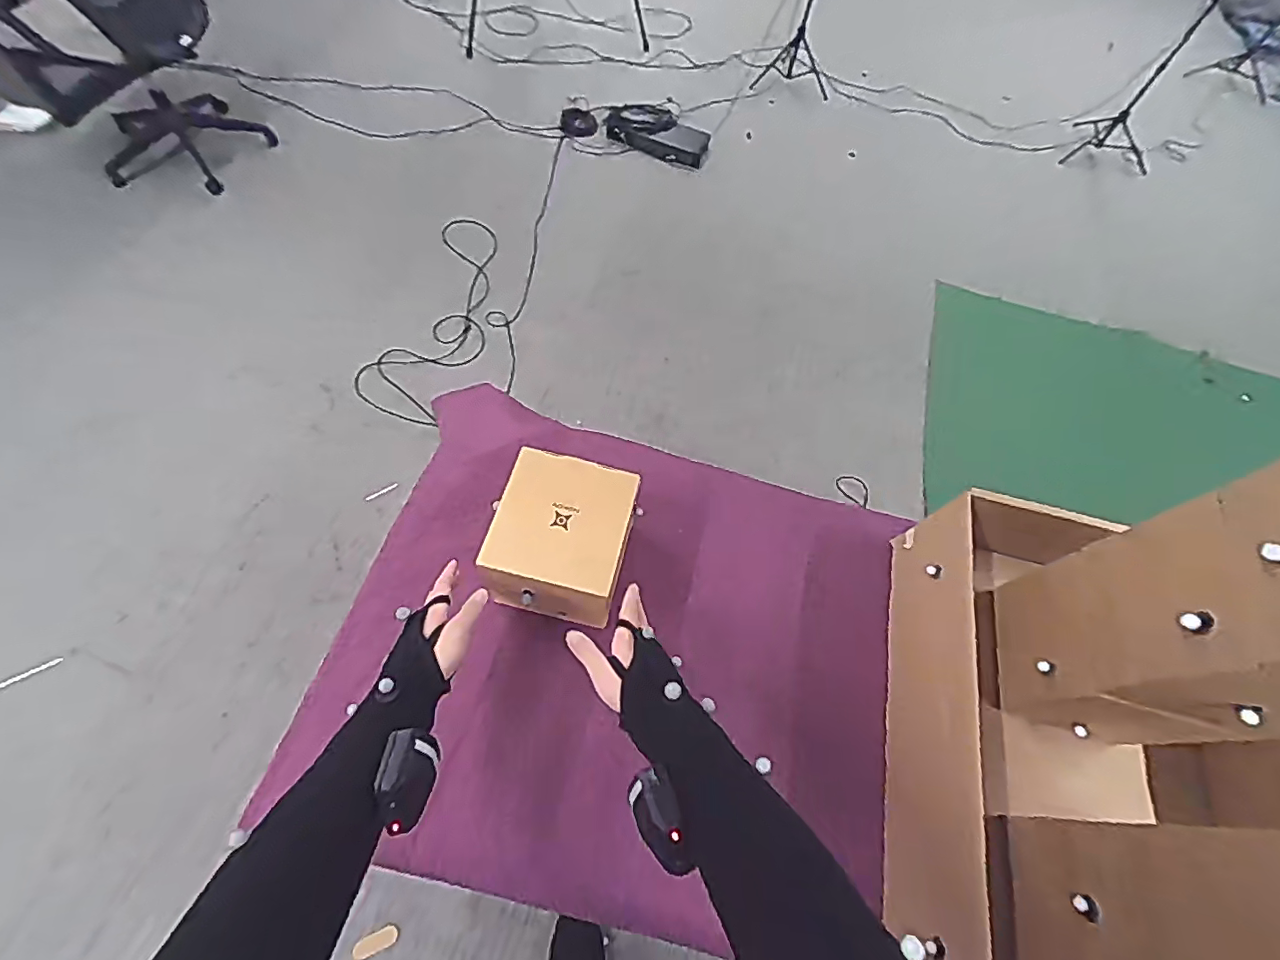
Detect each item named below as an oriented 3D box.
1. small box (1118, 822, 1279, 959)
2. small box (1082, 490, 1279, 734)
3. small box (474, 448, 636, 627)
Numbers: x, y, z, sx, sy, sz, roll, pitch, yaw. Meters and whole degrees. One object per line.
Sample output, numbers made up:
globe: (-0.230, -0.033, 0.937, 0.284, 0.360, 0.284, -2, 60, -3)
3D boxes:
small box: (0.517, 0.380, 0.404, 0.168, 0.176, 0.179, 15, 59, 4)
small box: (0.596, 0.142, 0.546, 0.168, 0.176, 0.179, 17, 61, 4)
small box: (-0.108, 0.087, 0.750, 0.168, 0.176, 0.179, 14, 59, 1)
